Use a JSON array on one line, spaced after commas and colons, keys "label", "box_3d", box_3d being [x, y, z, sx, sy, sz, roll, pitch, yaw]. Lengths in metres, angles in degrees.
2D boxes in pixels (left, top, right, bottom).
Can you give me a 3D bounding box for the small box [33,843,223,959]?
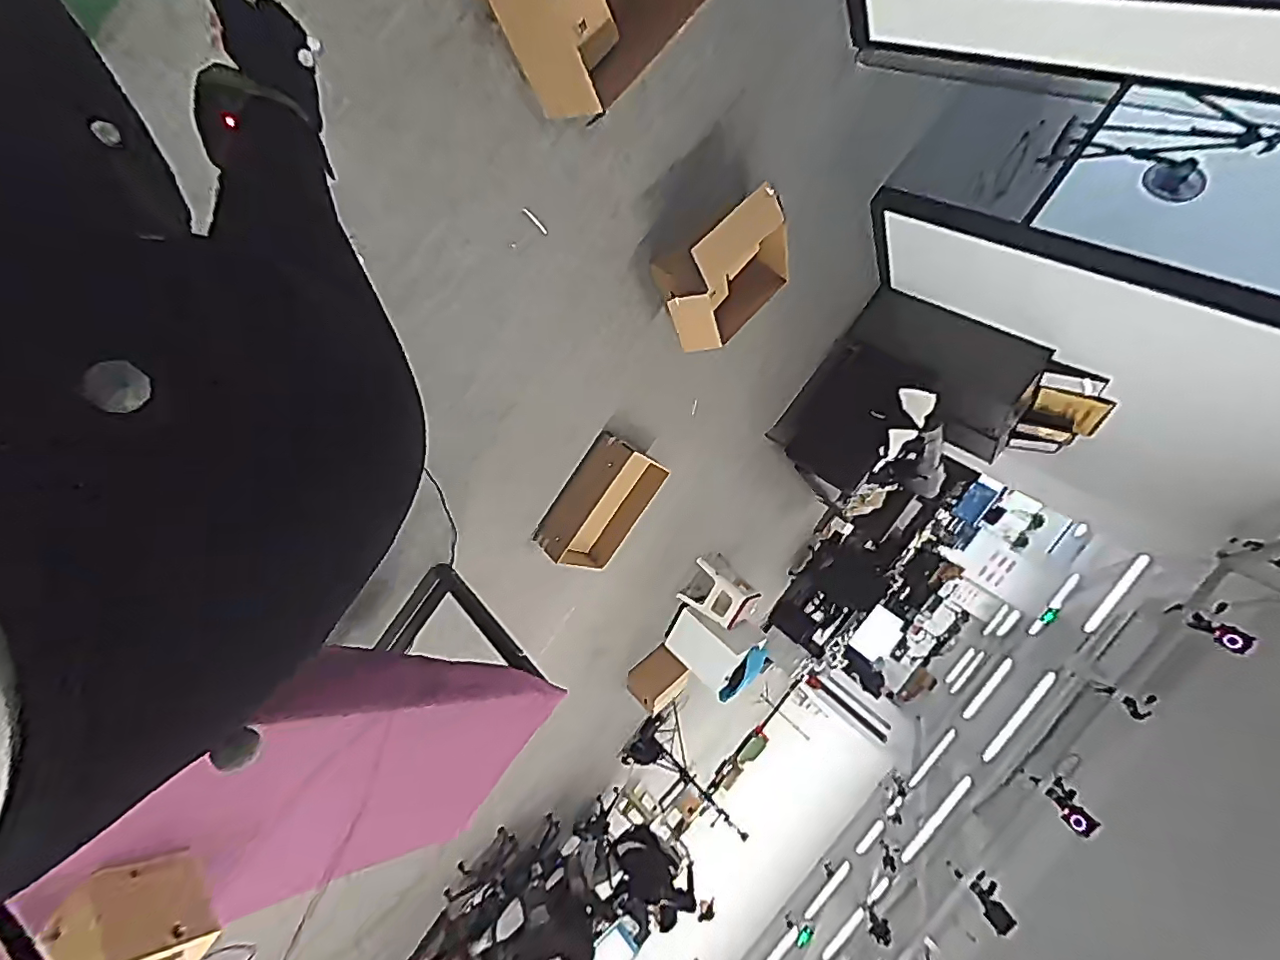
[{"label": "small box", "box_3d": [-0.867, 0.768, 0.916, 0.179, 0.176, 0.168, -50, 151, -2]}]
